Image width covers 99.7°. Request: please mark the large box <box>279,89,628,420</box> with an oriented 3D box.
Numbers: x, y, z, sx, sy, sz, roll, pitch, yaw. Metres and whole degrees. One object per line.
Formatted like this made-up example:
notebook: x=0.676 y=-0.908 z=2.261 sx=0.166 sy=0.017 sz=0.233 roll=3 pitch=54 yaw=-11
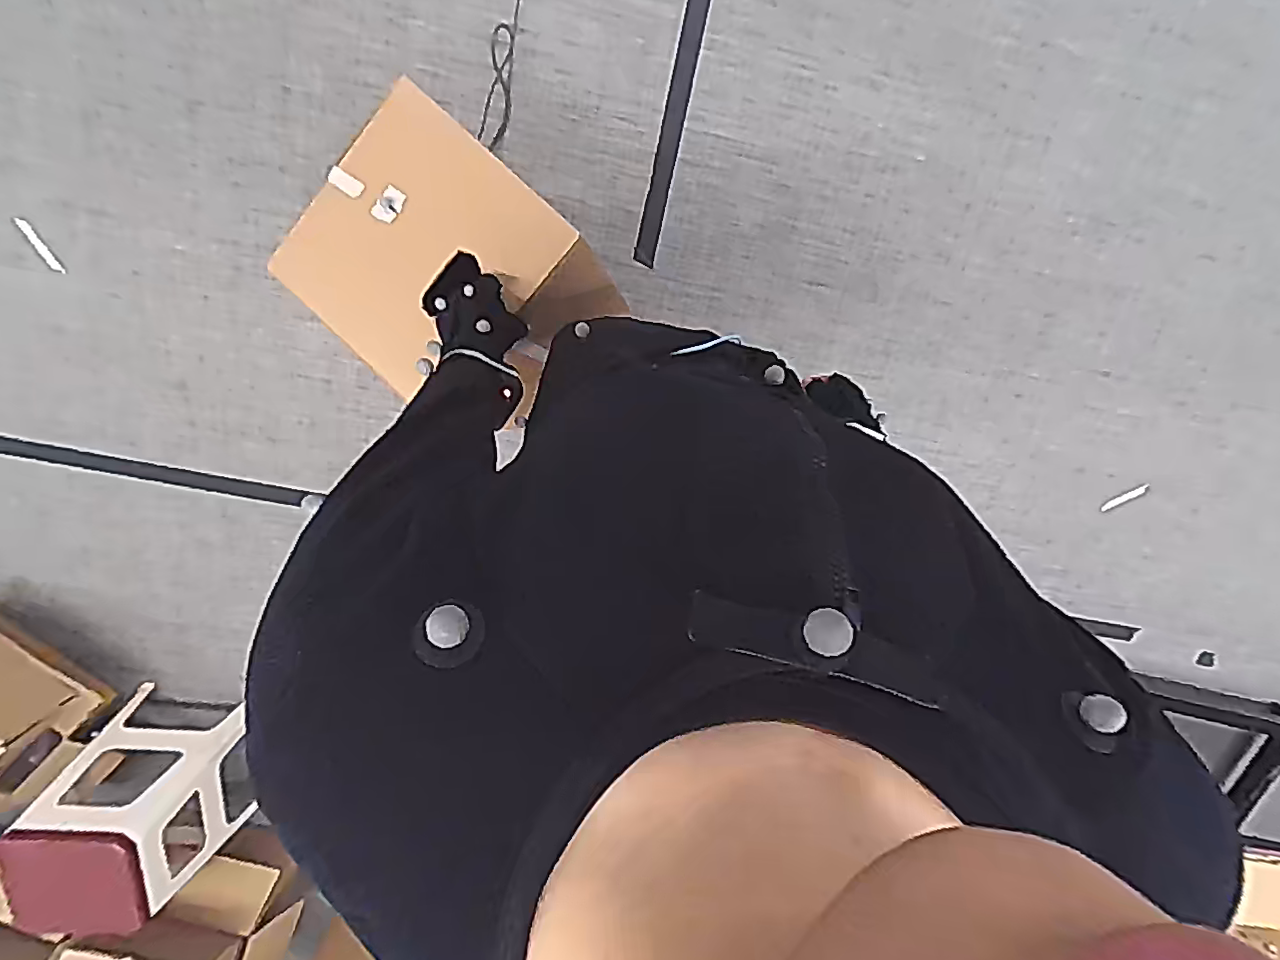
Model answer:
large box: x=-0.264 y=-0.316 z=0.898 sx=0.320 sy=0.408 sz=0.320 roll=45 pitch=99 yaw=3
